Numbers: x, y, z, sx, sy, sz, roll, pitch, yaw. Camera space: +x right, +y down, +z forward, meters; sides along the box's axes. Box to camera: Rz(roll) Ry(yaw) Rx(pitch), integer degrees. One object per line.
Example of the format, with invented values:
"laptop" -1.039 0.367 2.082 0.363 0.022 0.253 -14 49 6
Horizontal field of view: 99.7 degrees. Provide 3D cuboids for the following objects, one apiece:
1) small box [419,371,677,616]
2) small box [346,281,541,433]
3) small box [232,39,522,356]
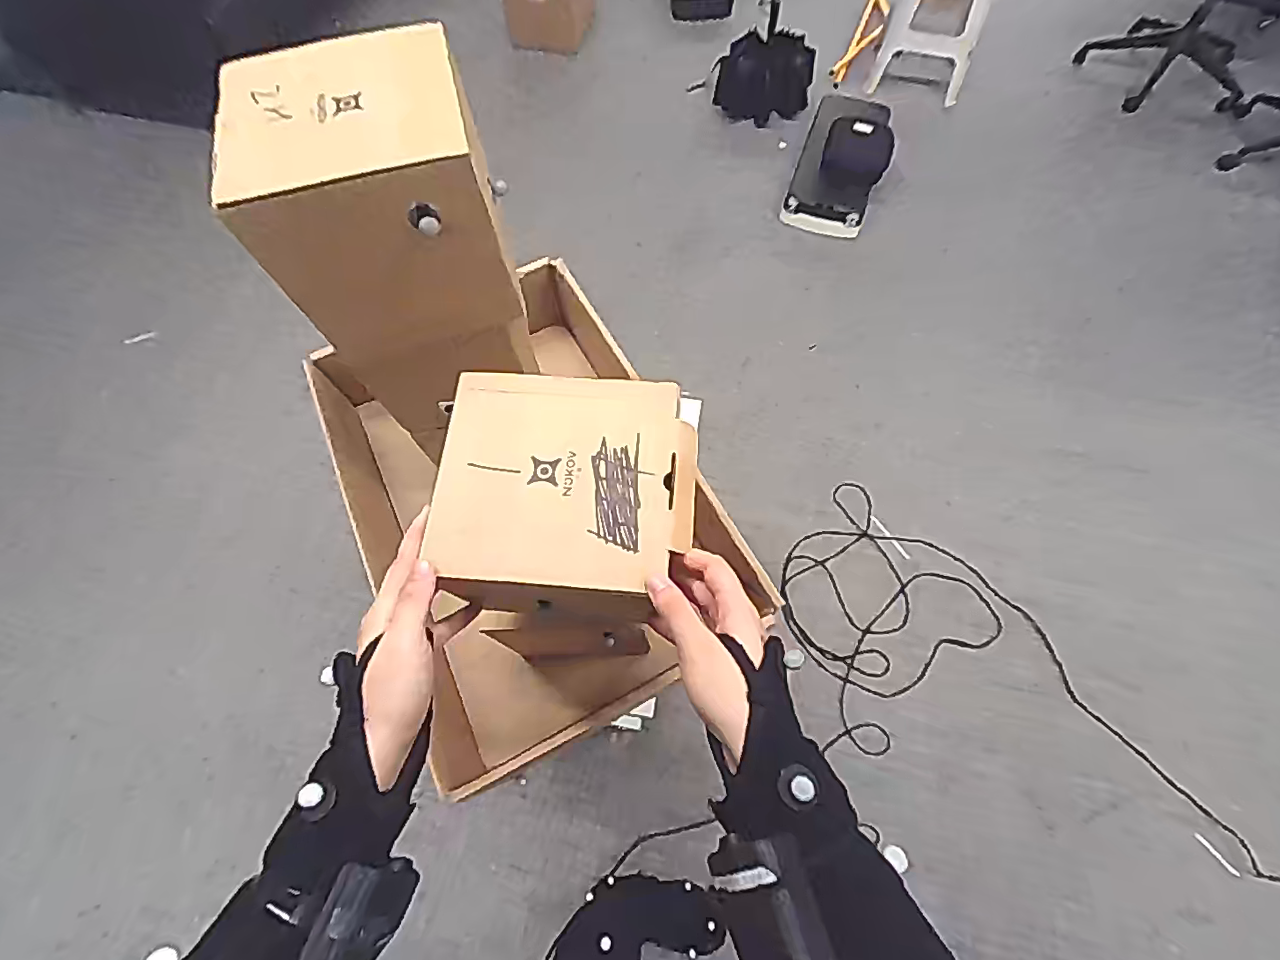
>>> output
"small box" -0.062 0.023 0.483 0.179 0.176 0.168 4 68 4
"small box" -0.219 -0.181 0.637 0.168 0.176 0.179 -12 67 -2
"small box" -0.213 -0.238 0.482 0.179 0.176 0.168 -15 65 -3
